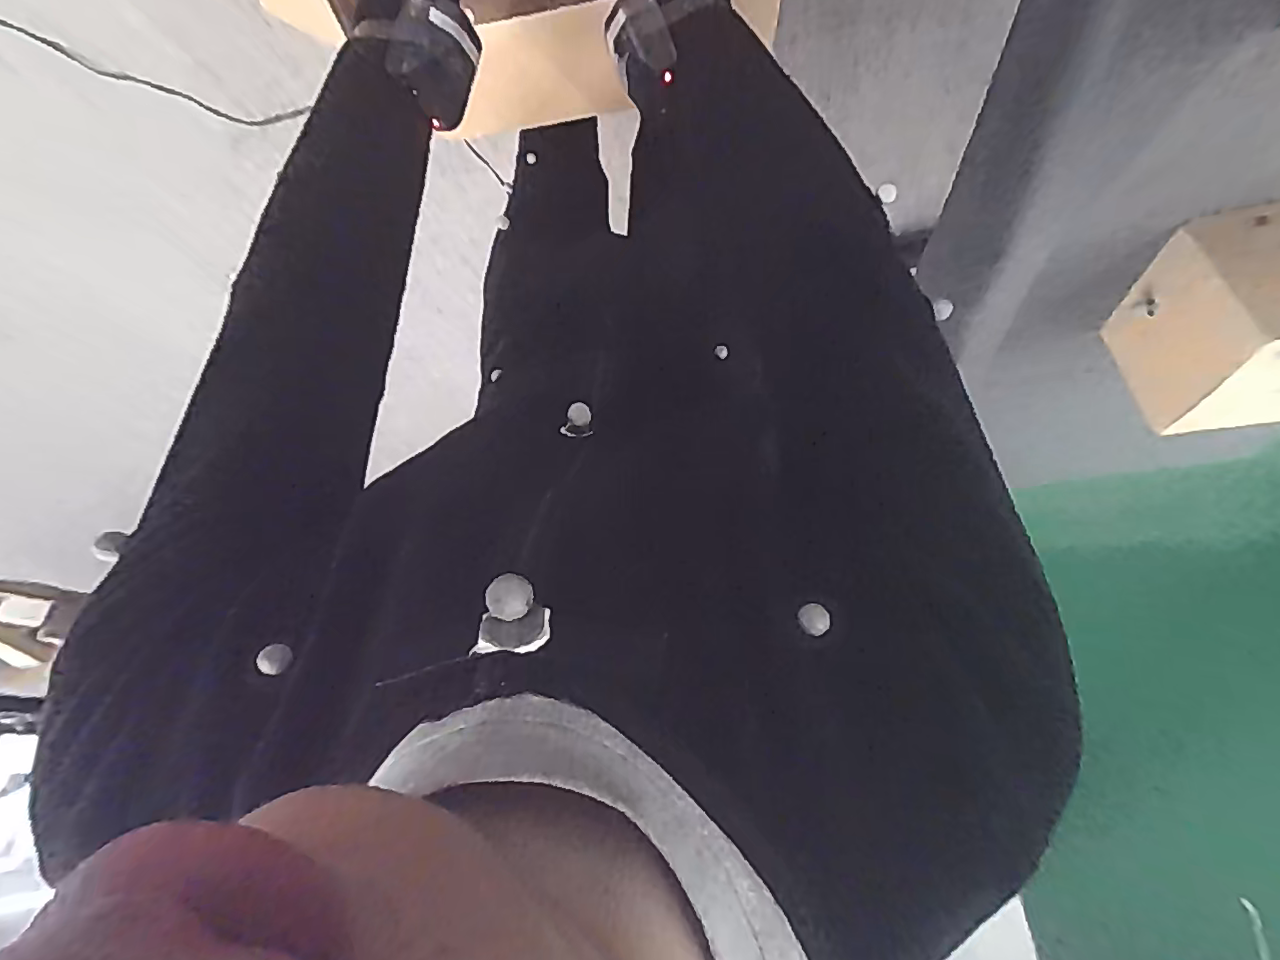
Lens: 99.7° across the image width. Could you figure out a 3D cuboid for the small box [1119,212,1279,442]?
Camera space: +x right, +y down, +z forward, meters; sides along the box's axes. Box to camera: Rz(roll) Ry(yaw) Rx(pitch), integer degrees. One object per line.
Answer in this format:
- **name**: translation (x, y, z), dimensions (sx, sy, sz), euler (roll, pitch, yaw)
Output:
- **small box**: translation (0.674, -0.163, 0.585), dimensions (0.168, 0.176, 0.179), euler (-7, 153, 11)
